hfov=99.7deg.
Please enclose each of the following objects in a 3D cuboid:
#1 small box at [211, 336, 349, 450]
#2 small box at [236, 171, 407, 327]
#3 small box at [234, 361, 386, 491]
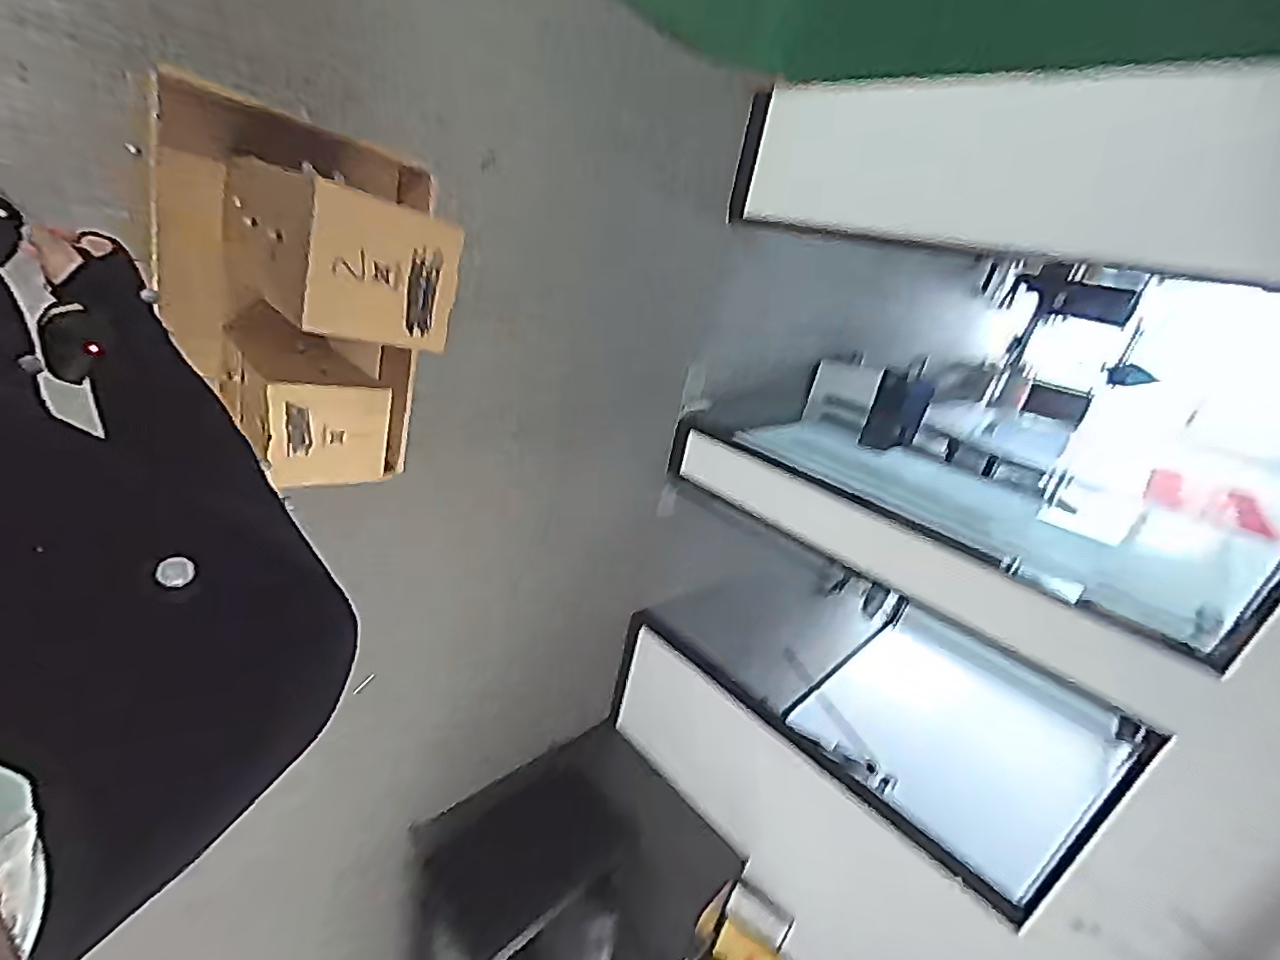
[{"bbox_3d":[-0.666,-0.158,0.995,0.179,0.176,0.168,-4,116,-48],"label":"small box"},{"bbox_3d":[-0.481,-0.344,0.809,0.179,0.176,0.168,-2,116,-48],"label":"small box"},{"bbox_3d":[-0.552,-0.092,0.897,0.179,0.176,0.168,-5,117,-48],"label":"small box"}]
